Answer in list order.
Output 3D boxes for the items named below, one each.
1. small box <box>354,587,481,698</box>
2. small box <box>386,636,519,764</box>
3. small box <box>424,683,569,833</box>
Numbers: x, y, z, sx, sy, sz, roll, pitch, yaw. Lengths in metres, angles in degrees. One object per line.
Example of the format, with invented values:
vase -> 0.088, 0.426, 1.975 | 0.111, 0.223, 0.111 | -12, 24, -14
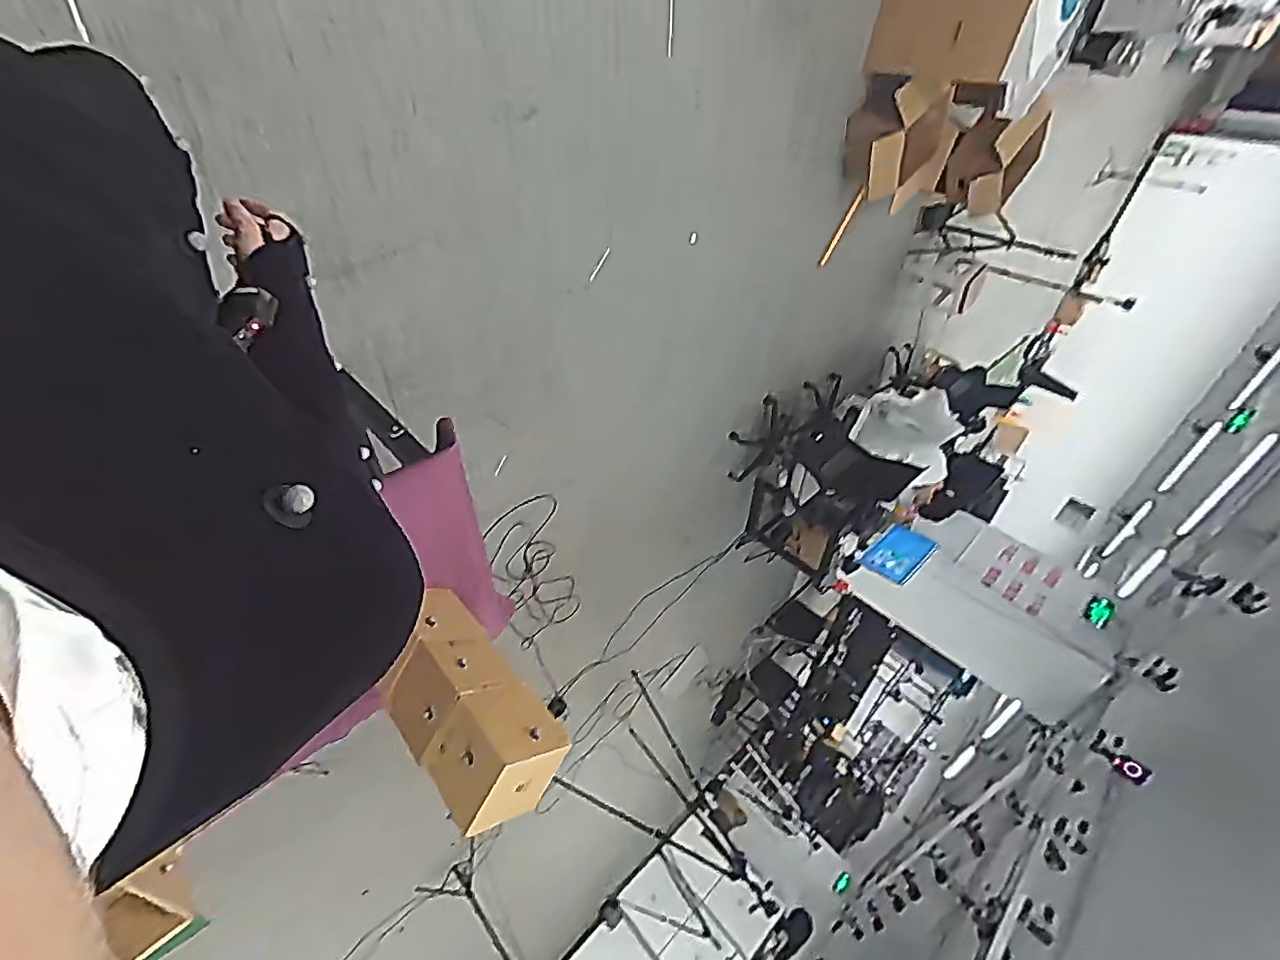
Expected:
small box -> -0.499, 0.353, 1.205 | 0.179, 0.176, 0.168 | 19, 104, -56
small box -> -0.391, 0.438, 1.117 | 0.168, 0.176, 0.179 | 20, 103, -55
small box -> -0.277, 0.516, 1.033 | 0.179, 0.176, 0.168 | 17, 105, -55
